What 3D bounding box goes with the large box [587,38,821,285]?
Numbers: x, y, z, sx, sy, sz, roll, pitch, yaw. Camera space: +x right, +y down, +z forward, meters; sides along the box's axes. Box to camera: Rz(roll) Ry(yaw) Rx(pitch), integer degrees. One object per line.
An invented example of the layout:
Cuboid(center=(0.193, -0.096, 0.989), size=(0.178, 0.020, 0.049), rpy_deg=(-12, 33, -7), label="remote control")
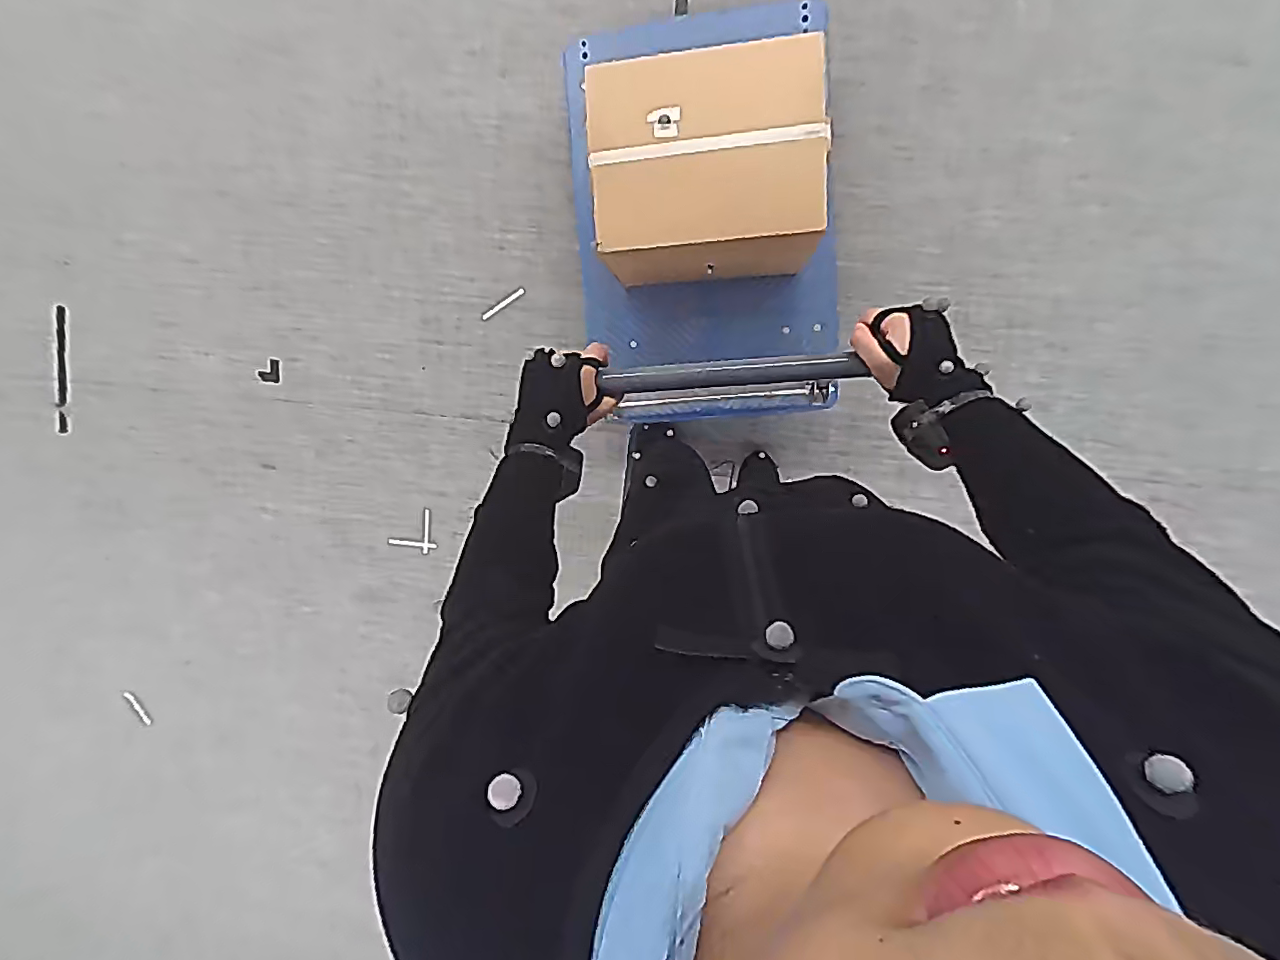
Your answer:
Cuboid(center=(0.134, -0.601, 1.098), size=(0.408, 0.320, 0.320), rpy_deg=(-2, 97, 9), label="large box")
